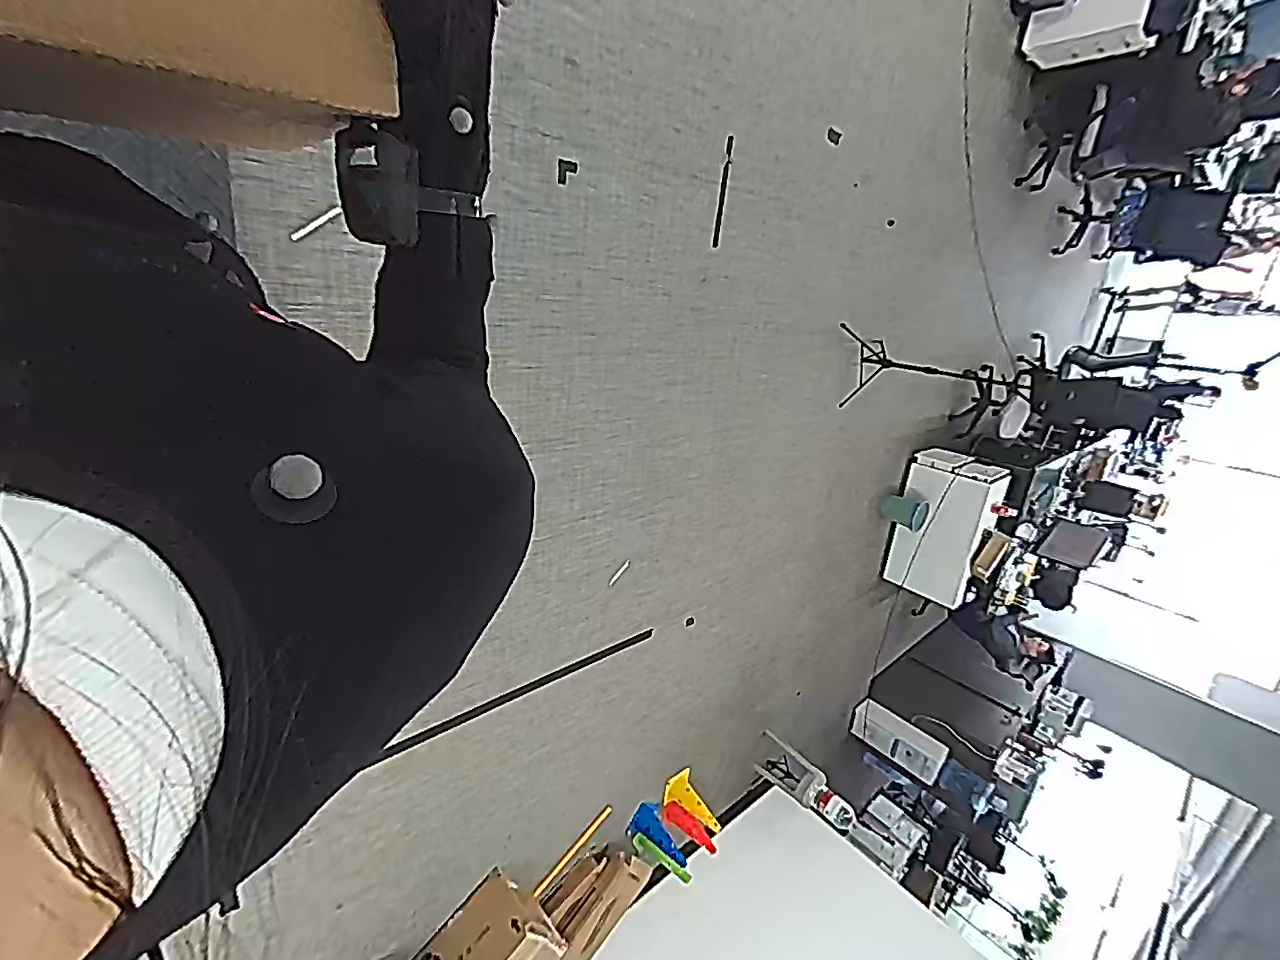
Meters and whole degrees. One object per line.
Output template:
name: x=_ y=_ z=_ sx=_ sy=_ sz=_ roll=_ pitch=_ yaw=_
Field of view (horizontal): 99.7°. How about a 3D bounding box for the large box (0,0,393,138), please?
large box: x=-0.384 y=-0.372 z=0.240 sx=0.408 sy=0.320 sz=0.320 roll=-16 pitch=122 yaw=-39
